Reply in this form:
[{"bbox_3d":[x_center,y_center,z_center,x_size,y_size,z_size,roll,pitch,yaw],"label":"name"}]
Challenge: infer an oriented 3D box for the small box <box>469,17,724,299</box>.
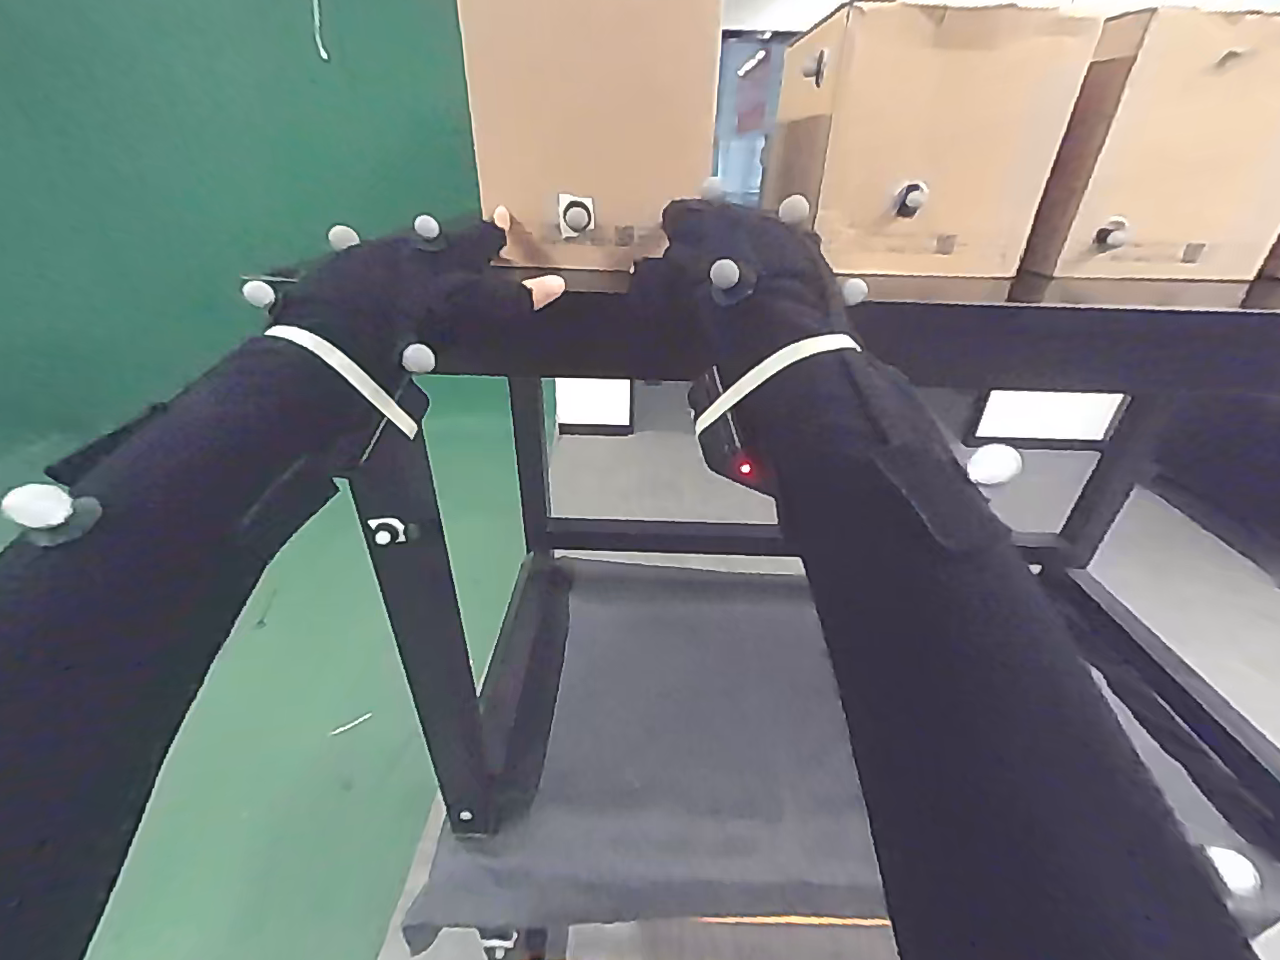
[{"bbox_3d":[-0.028,-0.258,0.451,0.168,0.176,0.179,0,32,0],"label":"small box"}]
